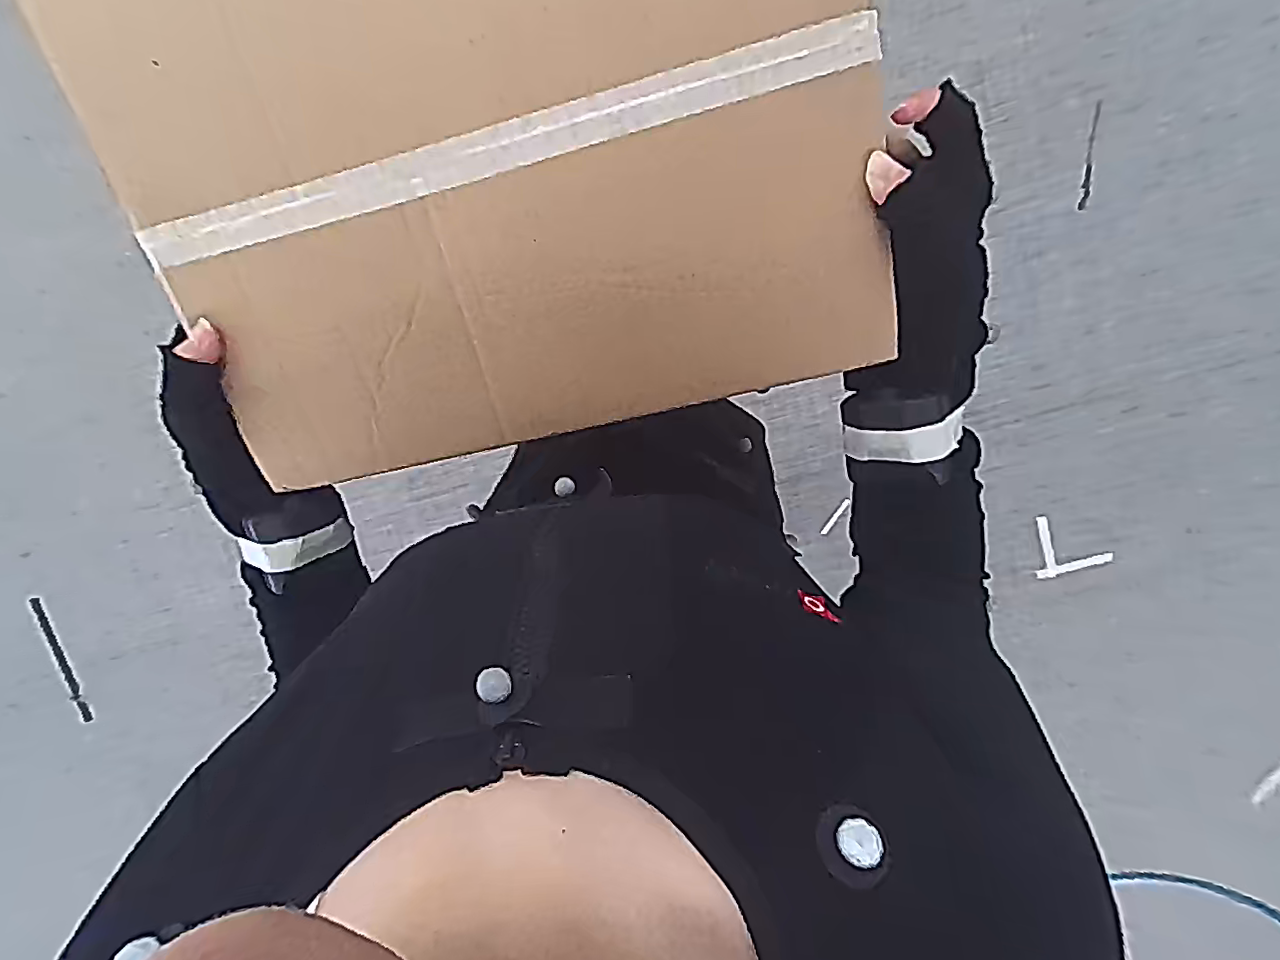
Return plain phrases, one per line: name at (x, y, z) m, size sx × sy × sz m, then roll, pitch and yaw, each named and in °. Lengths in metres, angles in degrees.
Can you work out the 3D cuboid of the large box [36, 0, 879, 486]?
large box at (-0.077, -0.231, 0.431) m, size 0.408 × 0.320 × 0.320 m, roll -12°, pitch 111°, yaw 7°
